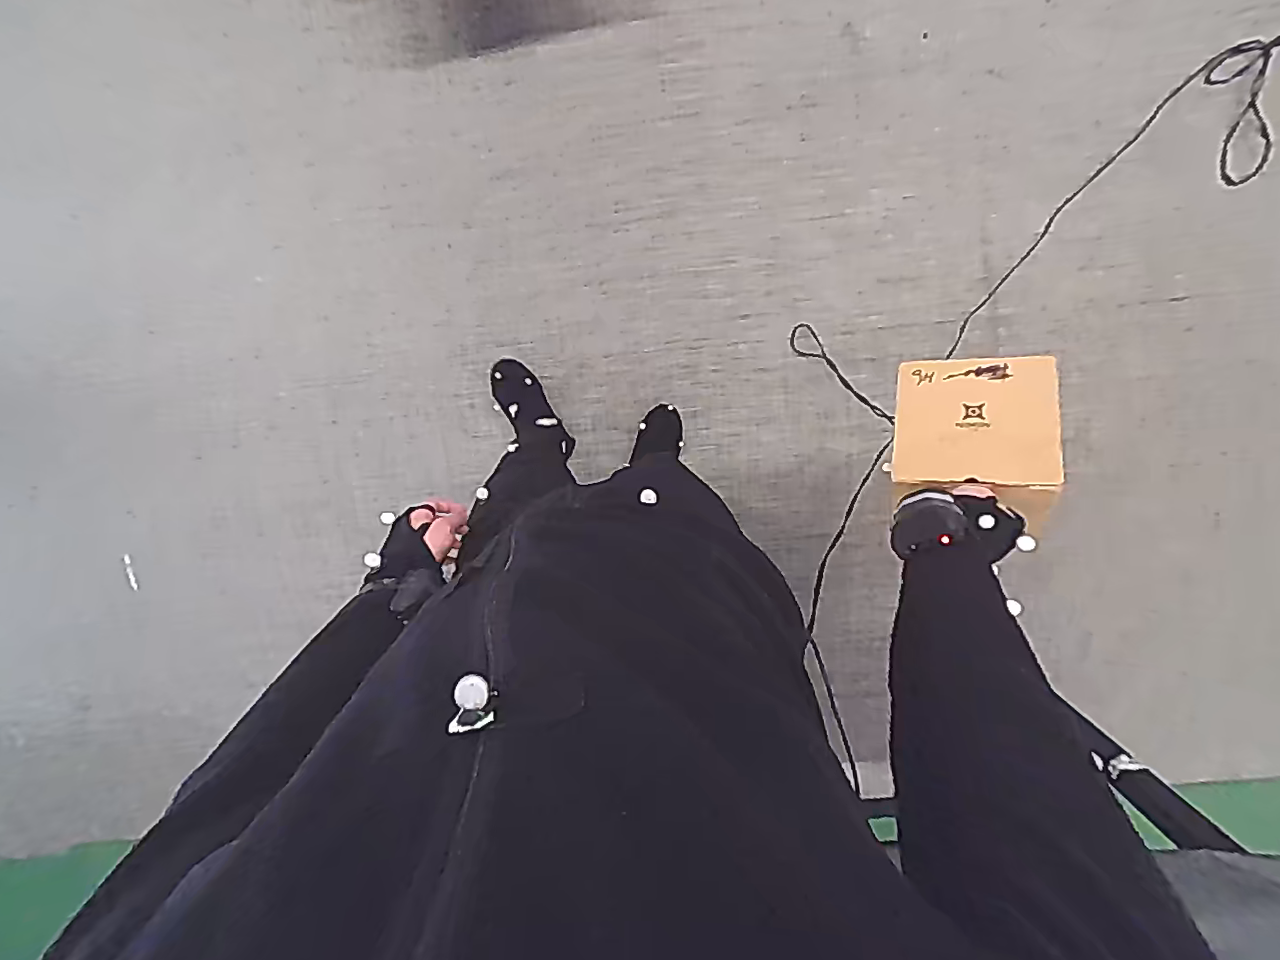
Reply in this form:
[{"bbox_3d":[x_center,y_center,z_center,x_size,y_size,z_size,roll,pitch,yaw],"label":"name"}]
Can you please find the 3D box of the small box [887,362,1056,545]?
[{"bbox_3d":[0.419,-0.029,0.698,0.168,0.176,0.179,4,64,27],"label":"small box"}]
